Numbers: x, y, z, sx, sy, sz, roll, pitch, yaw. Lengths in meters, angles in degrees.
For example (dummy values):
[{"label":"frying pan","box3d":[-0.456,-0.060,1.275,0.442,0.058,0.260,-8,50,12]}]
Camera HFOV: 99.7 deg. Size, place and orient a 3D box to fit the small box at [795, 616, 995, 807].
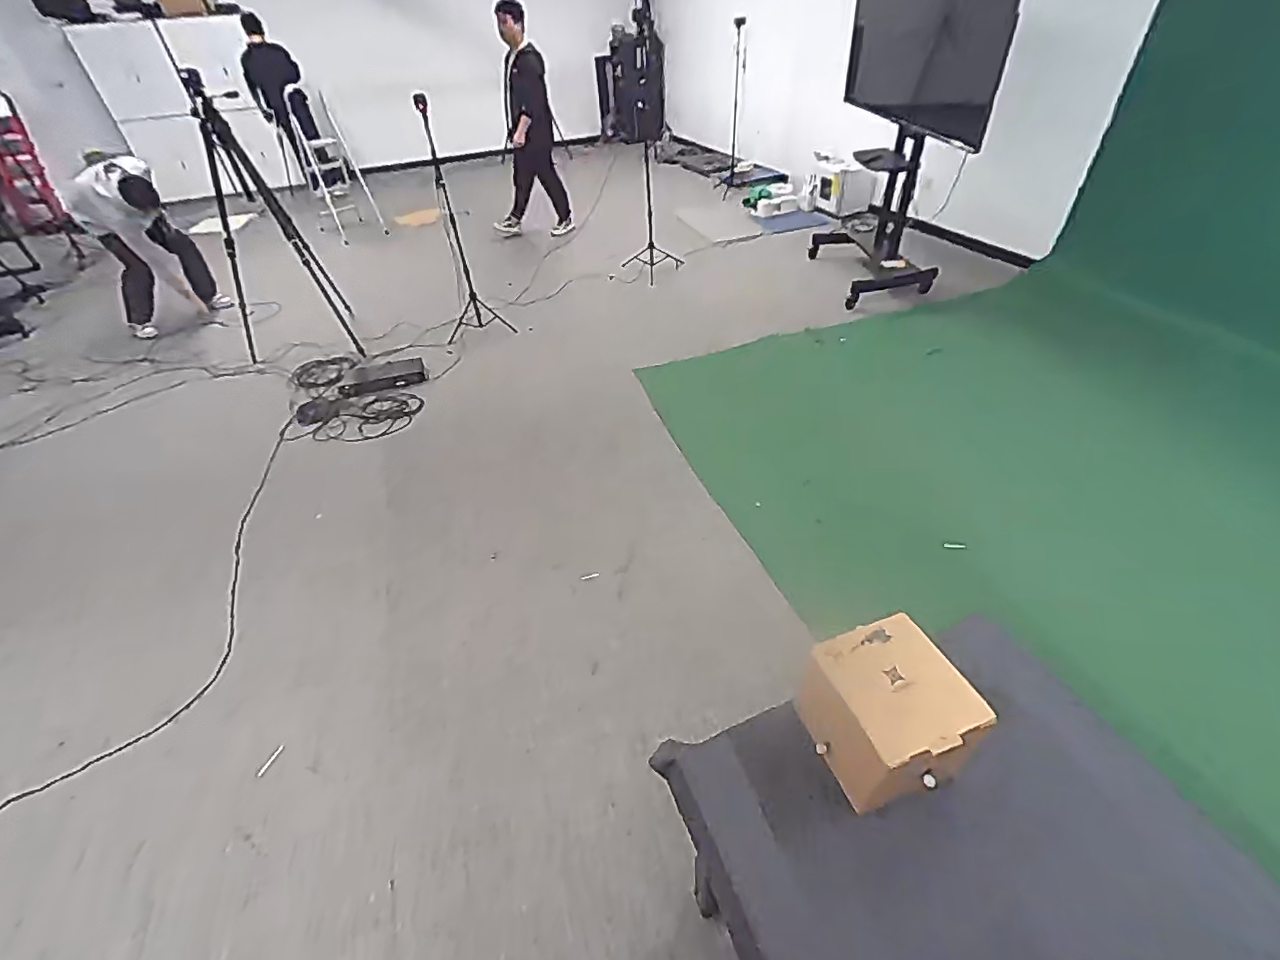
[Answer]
[{"label":"small box","box3d":[0.340,0.330,0.762,0.168,0.176,0.179,-15,43,-12]}]
